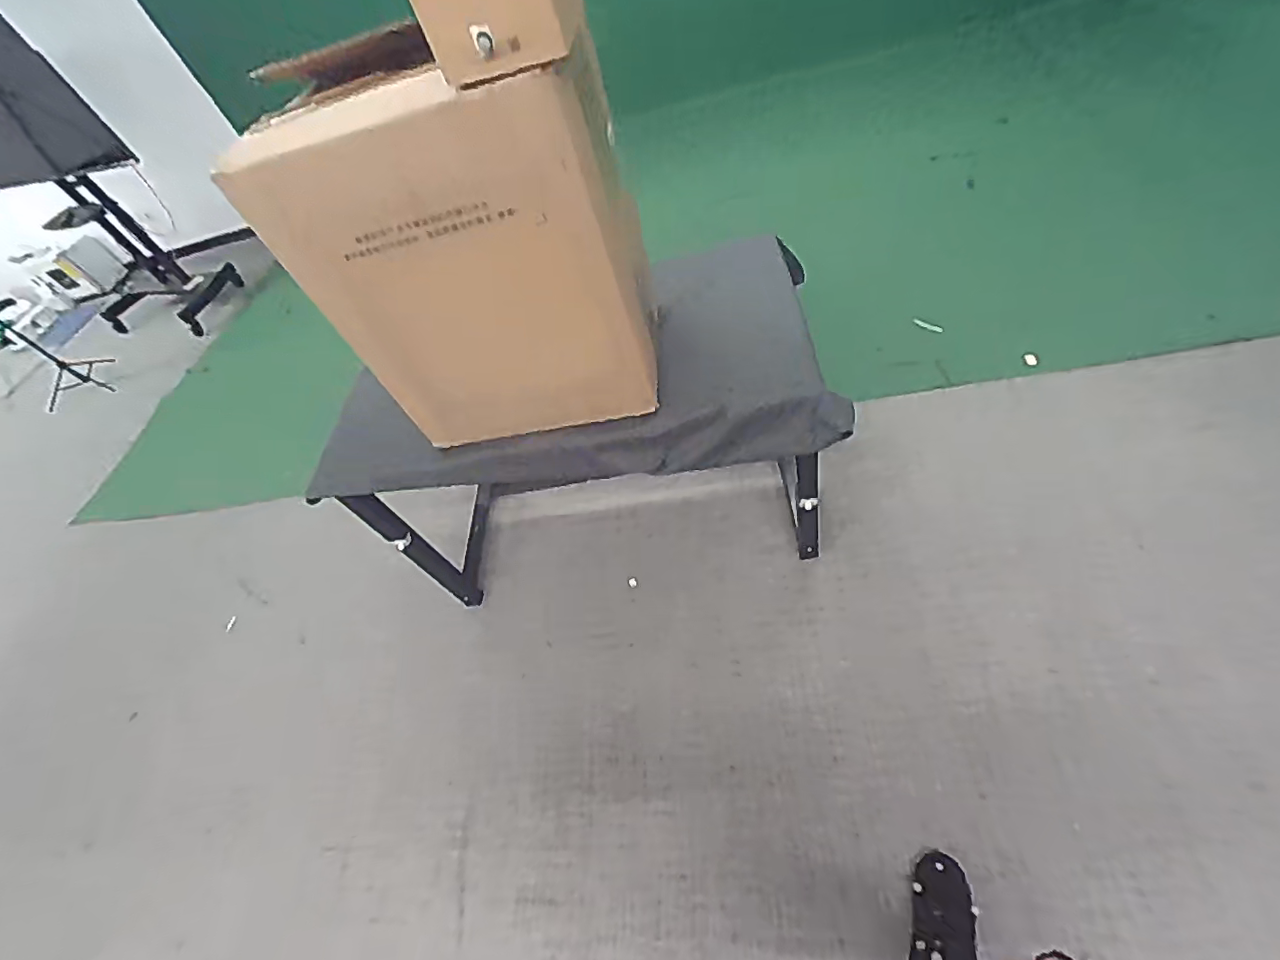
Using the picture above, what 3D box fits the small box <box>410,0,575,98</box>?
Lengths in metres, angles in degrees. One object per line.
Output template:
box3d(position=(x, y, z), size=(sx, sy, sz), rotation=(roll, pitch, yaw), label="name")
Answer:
box3d(position=(-0.188, -0.619, 0.681), size=(0.168, 0.176, 0.179), rotation=(-8, 52, 12), label="small box")
